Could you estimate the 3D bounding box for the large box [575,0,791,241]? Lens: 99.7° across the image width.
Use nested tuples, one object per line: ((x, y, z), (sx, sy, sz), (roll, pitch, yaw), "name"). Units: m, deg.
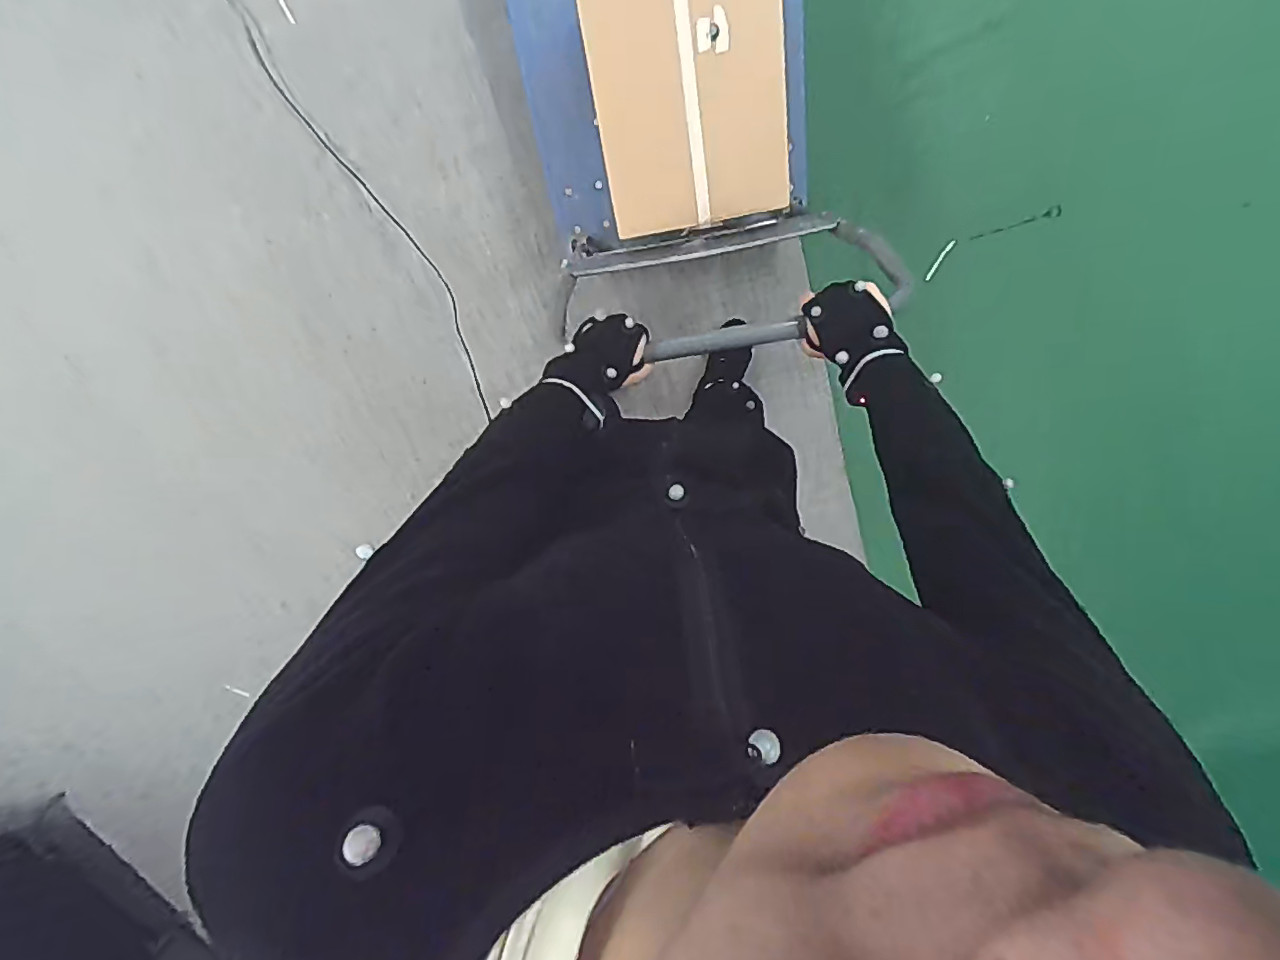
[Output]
((0.083, -0.702, 1.022), (0.320, 0.320, 0.408), (-9, 117, 5), "large box")
